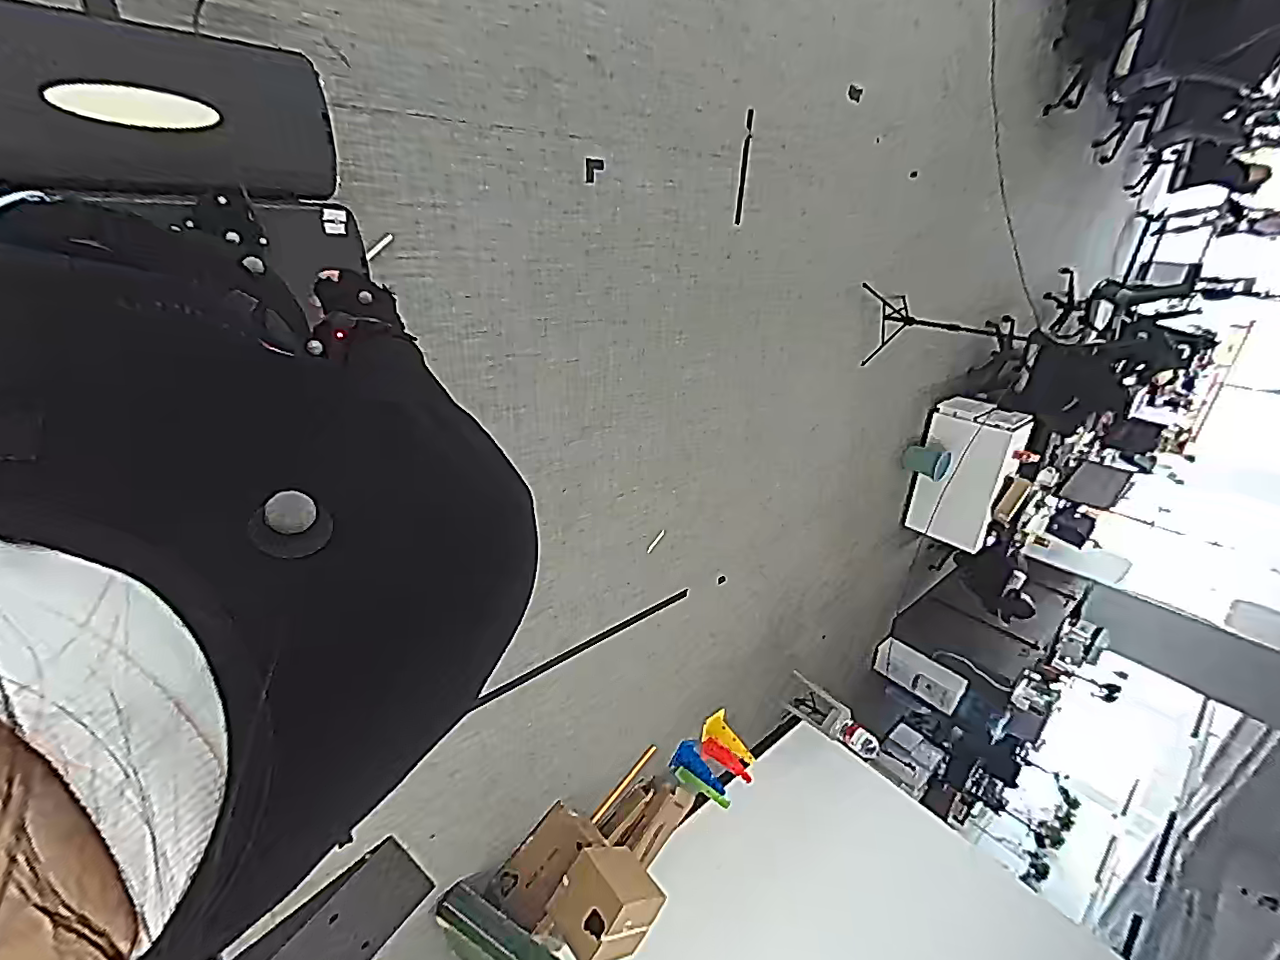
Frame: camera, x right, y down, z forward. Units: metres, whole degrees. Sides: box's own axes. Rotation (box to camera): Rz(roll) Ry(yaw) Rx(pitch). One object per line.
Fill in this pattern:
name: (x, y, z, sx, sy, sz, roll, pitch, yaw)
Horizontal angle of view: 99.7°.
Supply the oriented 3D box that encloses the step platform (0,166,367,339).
step platform: (-0.952, -0.476, 1.128, 0.684, 0.204, 0.286, -19, 122, -35)
